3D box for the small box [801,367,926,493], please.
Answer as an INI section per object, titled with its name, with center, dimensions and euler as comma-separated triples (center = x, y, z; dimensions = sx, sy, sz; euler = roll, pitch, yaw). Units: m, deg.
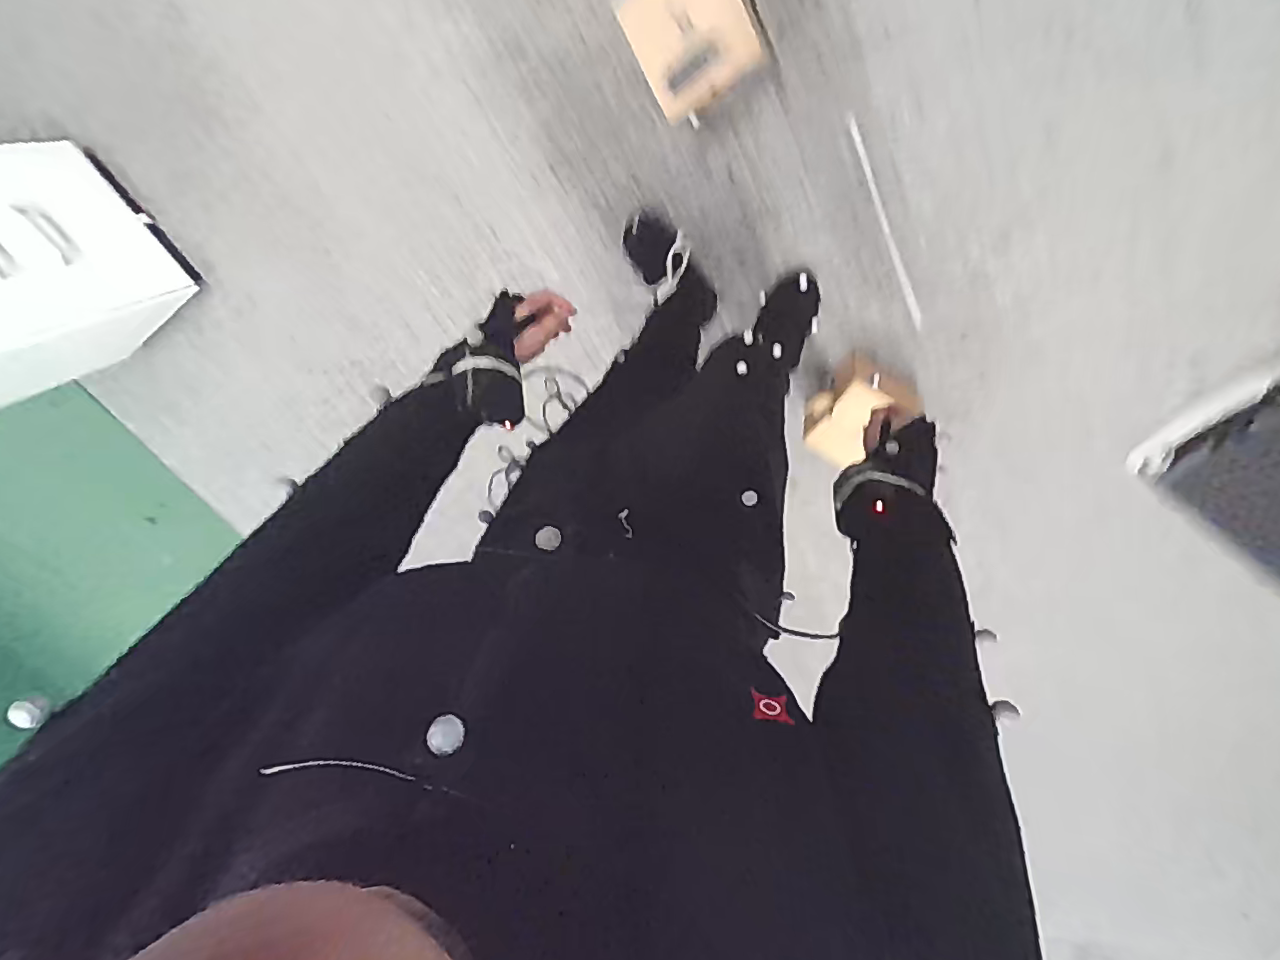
[small box]
center = 0.466, -0.111, 1.143
dimensions = 0.179, 0.176, 0.168
euler = 31, 127, -3
